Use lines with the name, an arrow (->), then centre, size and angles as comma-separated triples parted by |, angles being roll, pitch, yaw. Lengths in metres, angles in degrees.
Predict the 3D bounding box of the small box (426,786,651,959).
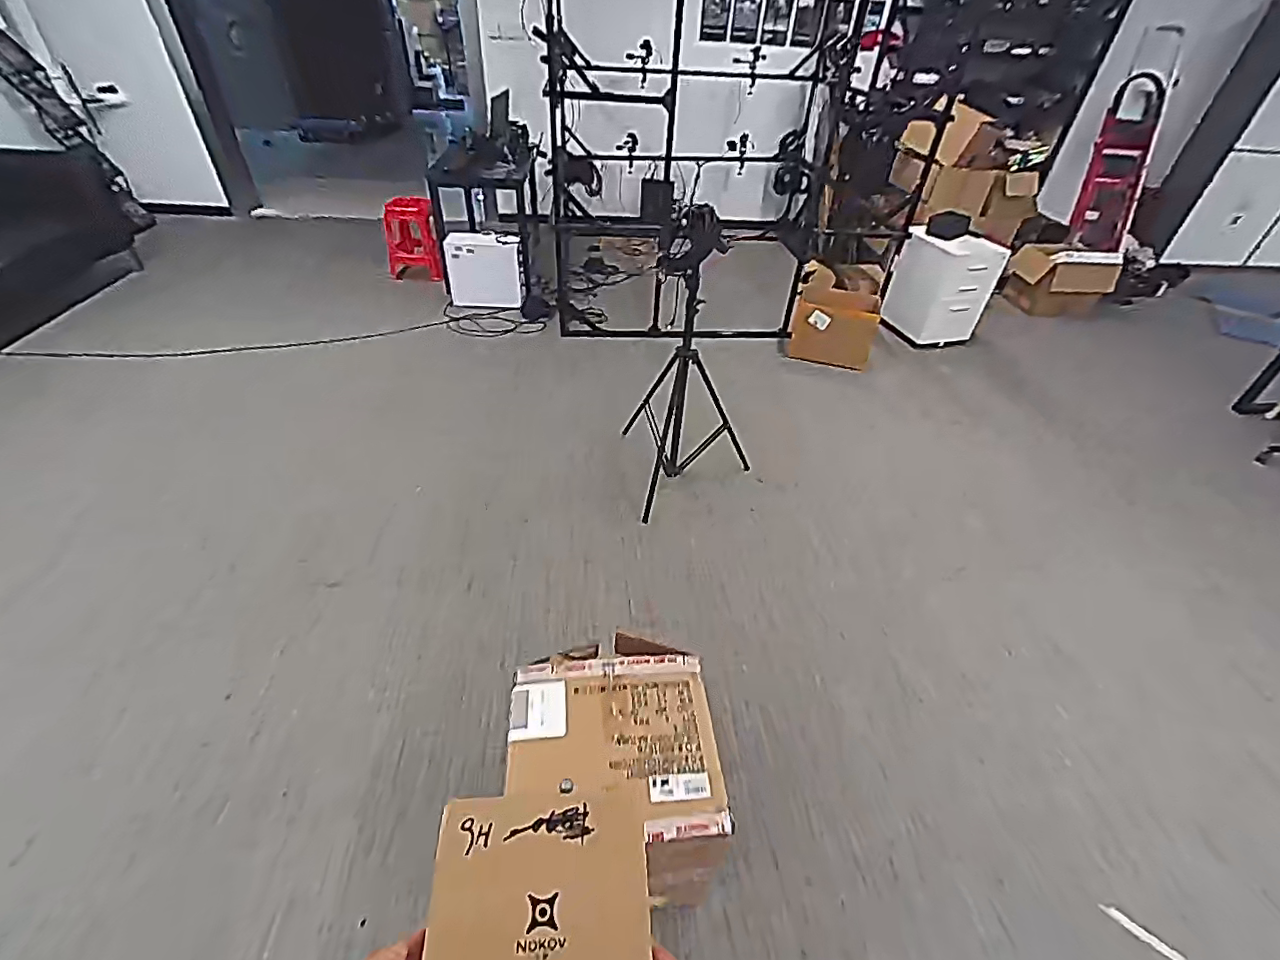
small box -> -0.083, 0.379, 0.468 | 0.168, 0.176, 0.179 | 2, 52, -9
